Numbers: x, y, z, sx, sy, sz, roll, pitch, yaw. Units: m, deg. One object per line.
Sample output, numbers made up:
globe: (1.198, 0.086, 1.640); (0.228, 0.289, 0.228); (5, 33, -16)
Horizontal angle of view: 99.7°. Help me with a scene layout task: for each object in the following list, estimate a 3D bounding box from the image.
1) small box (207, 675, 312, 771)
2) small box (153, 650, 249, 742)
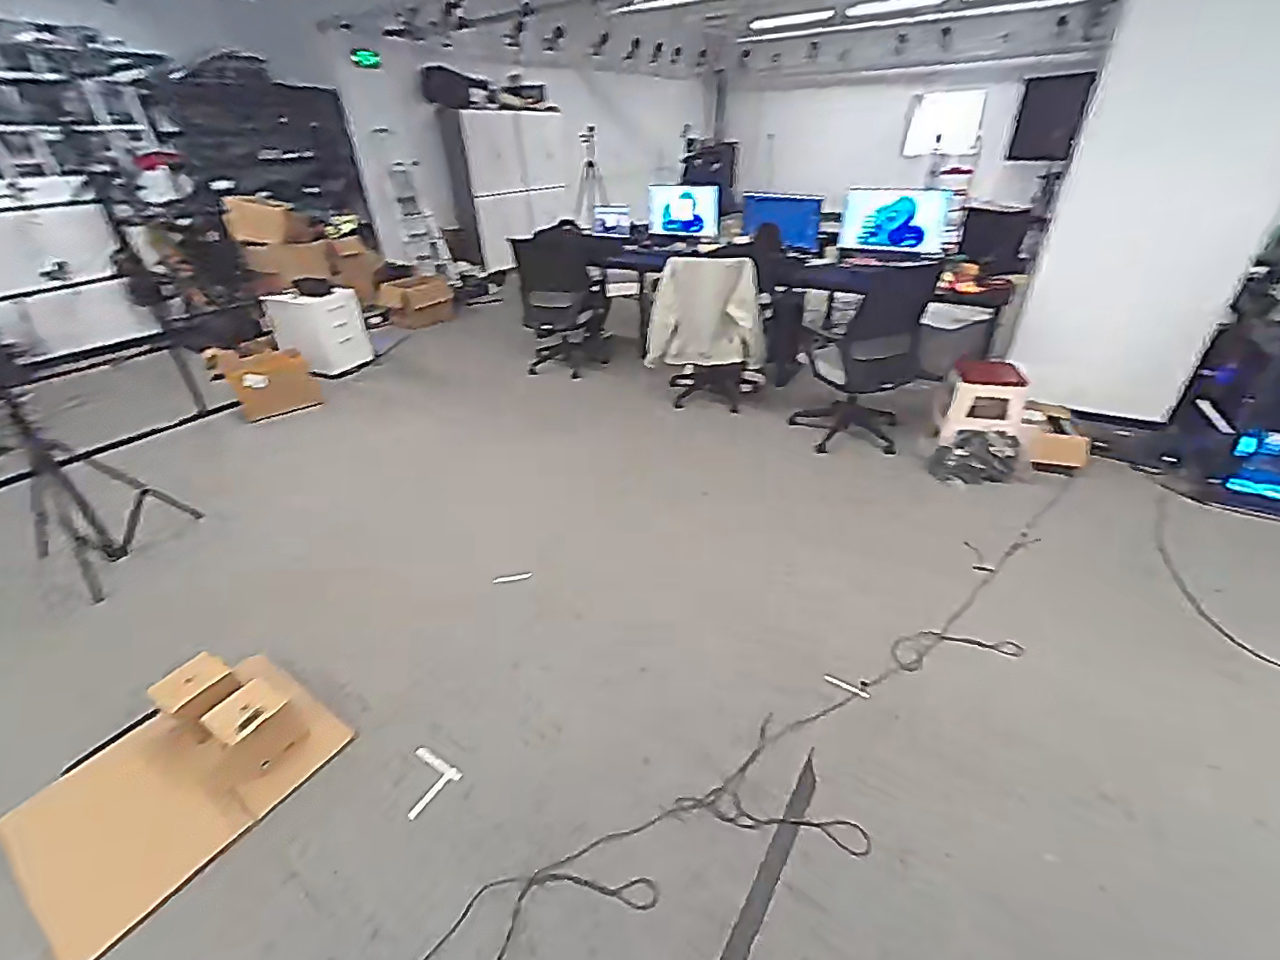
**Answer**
small box: (-1.119, 0.724, 1.603); (0.179, 0.176, 0.168); (16, 37, 27)
small box: (-1.355, 0.677, 1.699); (0.168, 0.176, 0.179); (13, 36, 25)
